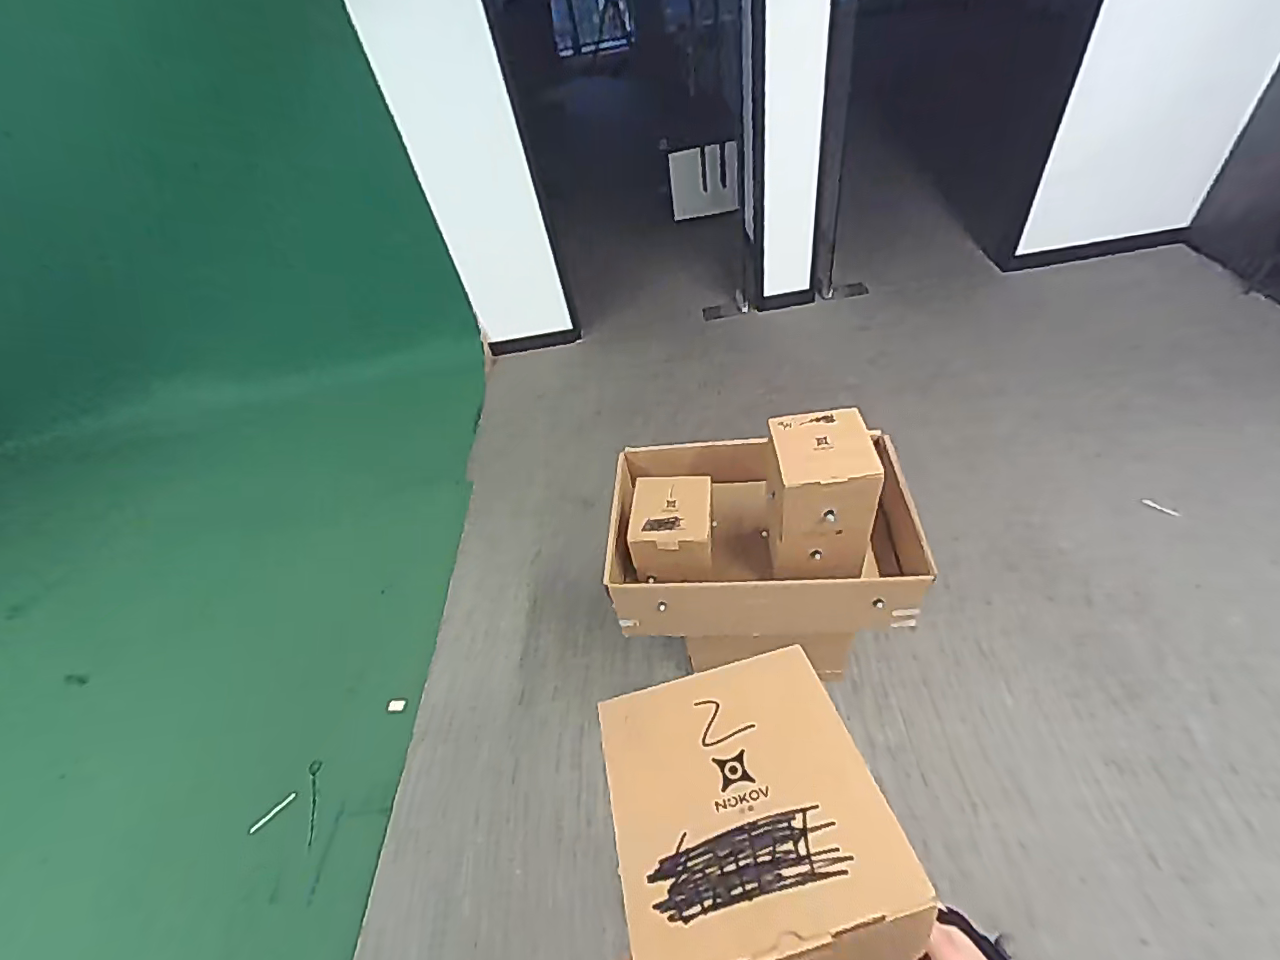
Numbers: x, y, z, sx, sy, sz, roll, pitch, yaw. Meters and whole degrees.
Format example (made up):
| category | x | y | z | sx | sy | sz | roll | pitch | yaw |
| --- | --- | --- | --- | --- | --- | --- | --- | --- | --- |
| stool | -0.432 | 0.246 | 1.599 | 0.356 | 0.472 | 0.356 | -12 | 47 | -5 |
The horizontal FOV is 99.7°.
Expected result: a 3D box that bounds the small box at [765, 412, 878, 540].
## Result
| category | x | y | z | sx | sy | sz | roll | pitch | yaw |
| --- | --- | --- | --- | --- | --- | --- | --- | --- | --- |
| small box | 0.330 | 0.000 | 1.014 | 0.168 | 0.176 | 0.179 | -6 | 47 | 7 |
